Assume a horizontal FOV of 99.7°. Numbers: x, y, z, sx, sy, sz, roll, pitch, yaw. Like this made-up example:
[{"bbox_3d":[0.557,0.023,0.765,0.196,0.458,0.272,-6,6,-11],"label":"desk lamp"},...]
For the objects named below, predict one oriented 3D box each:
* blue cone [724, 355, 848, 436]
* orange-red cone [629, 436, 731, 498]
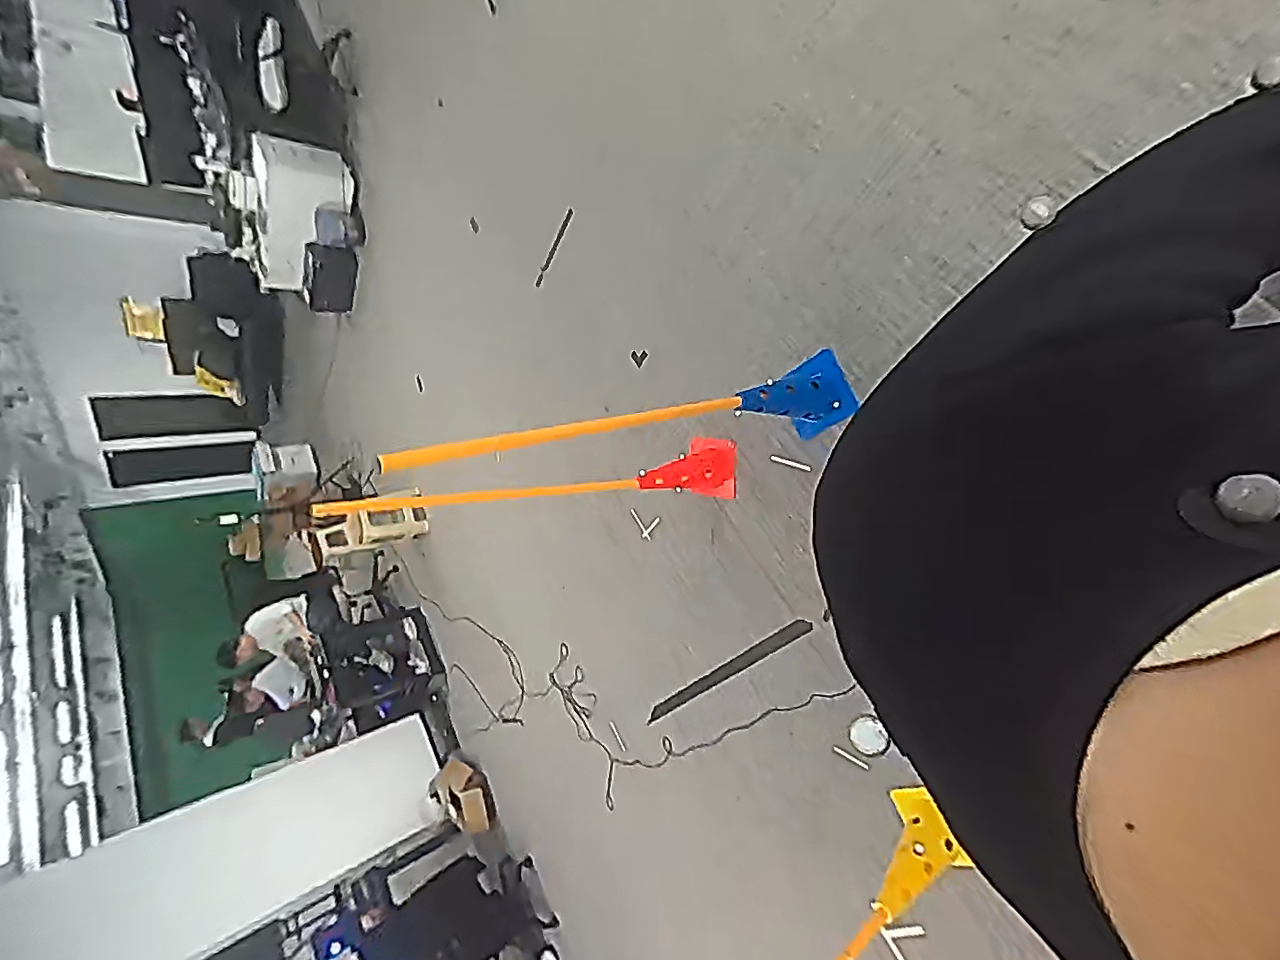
[{"bbox_3d":[0.361,-0.216,1.422,0.192,0.380,0.193,-32,74,48],"label":"blue cone"},{"bbox_3d":[0.108,-0.020,1.730,0.199,0.360,0.198,12,108,45],"label":"orange-red cone"}]
